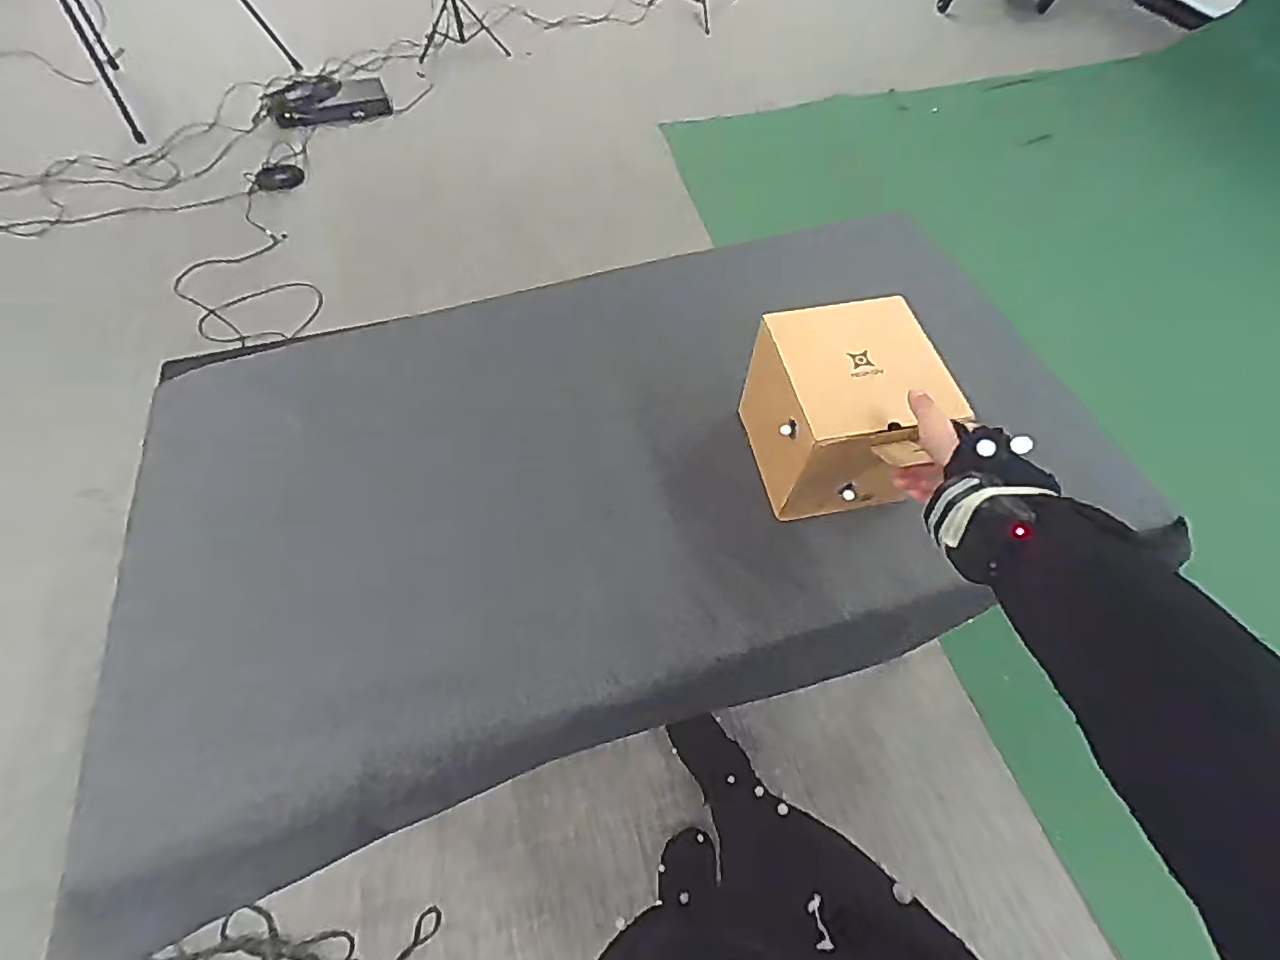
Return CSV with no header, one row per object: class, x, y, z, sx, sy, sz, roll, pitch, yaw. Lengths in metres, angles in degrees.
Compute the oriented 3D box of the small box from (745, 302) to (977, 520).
small box,0.232,-0.076,0.627,0.168,0.176,0.179,-9,60,-6
